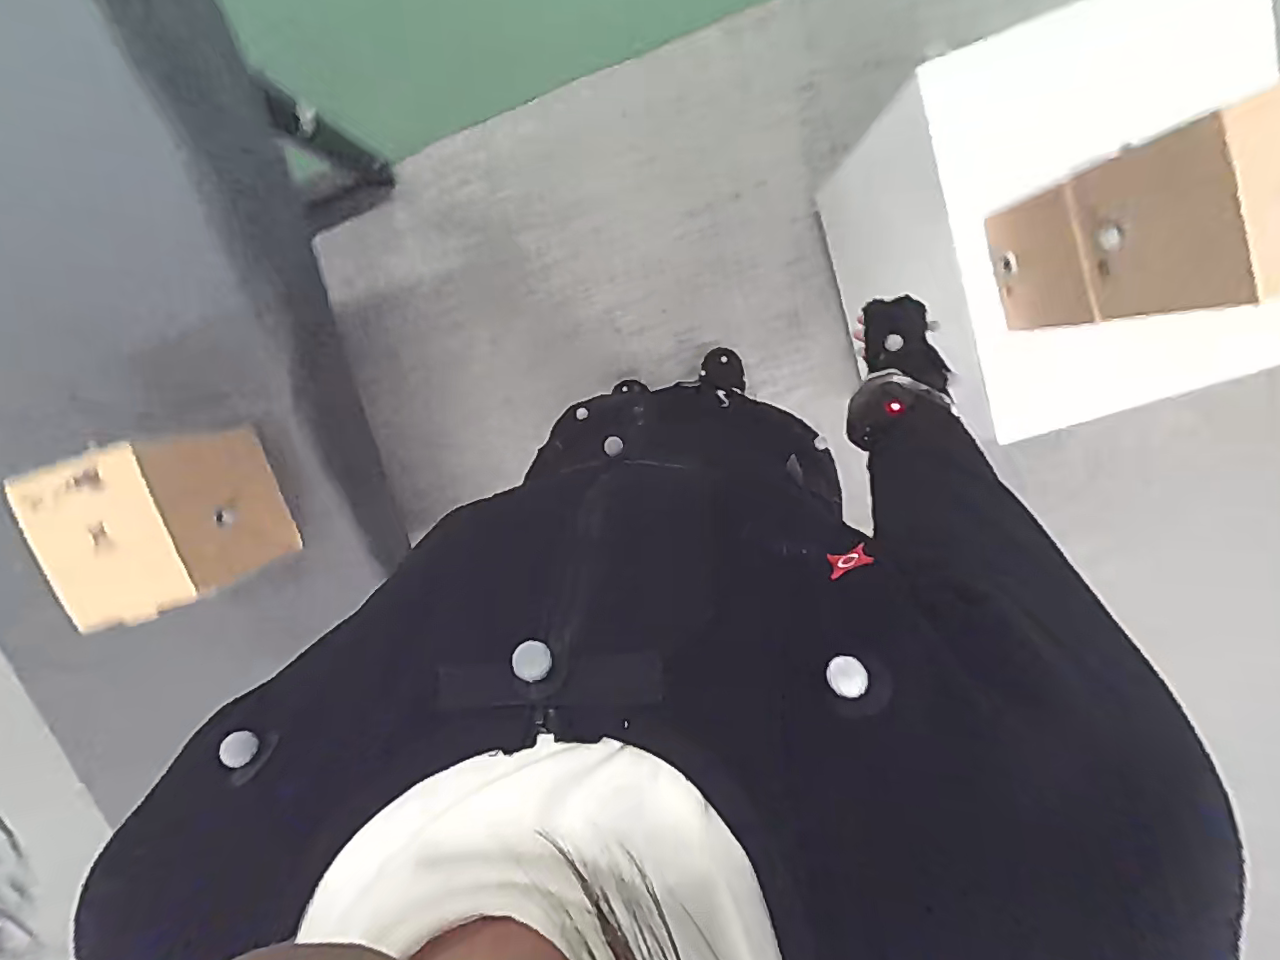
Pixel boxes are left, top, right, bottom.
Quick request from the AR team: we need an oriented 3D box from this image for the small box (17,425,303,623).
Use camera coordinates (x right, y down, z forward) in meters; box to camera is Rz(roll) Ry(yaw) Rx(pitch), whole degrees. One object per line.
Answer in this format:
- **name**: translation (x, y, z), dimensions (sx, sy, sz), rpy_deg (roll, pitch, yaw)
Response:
- **small box**: translation (-0.565, 0.044, 0.666), dimensions (0.168, 0.176, 0.179), rpy_deg (-16, 101, 9)

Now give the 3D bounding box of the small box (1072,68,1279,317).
- **small box**: translation (0.538, -0.257, 0.468), dimensions (0.179, 0.176, 0.168), rpy_deg (-24, 100, 8)

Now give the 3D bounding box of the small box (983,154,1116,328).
- **small box**: translation (0.547, -0.289, 0.629), dimensions (0.179, 0.176, 0.168), rpy_deg (-20, 99, 10)
